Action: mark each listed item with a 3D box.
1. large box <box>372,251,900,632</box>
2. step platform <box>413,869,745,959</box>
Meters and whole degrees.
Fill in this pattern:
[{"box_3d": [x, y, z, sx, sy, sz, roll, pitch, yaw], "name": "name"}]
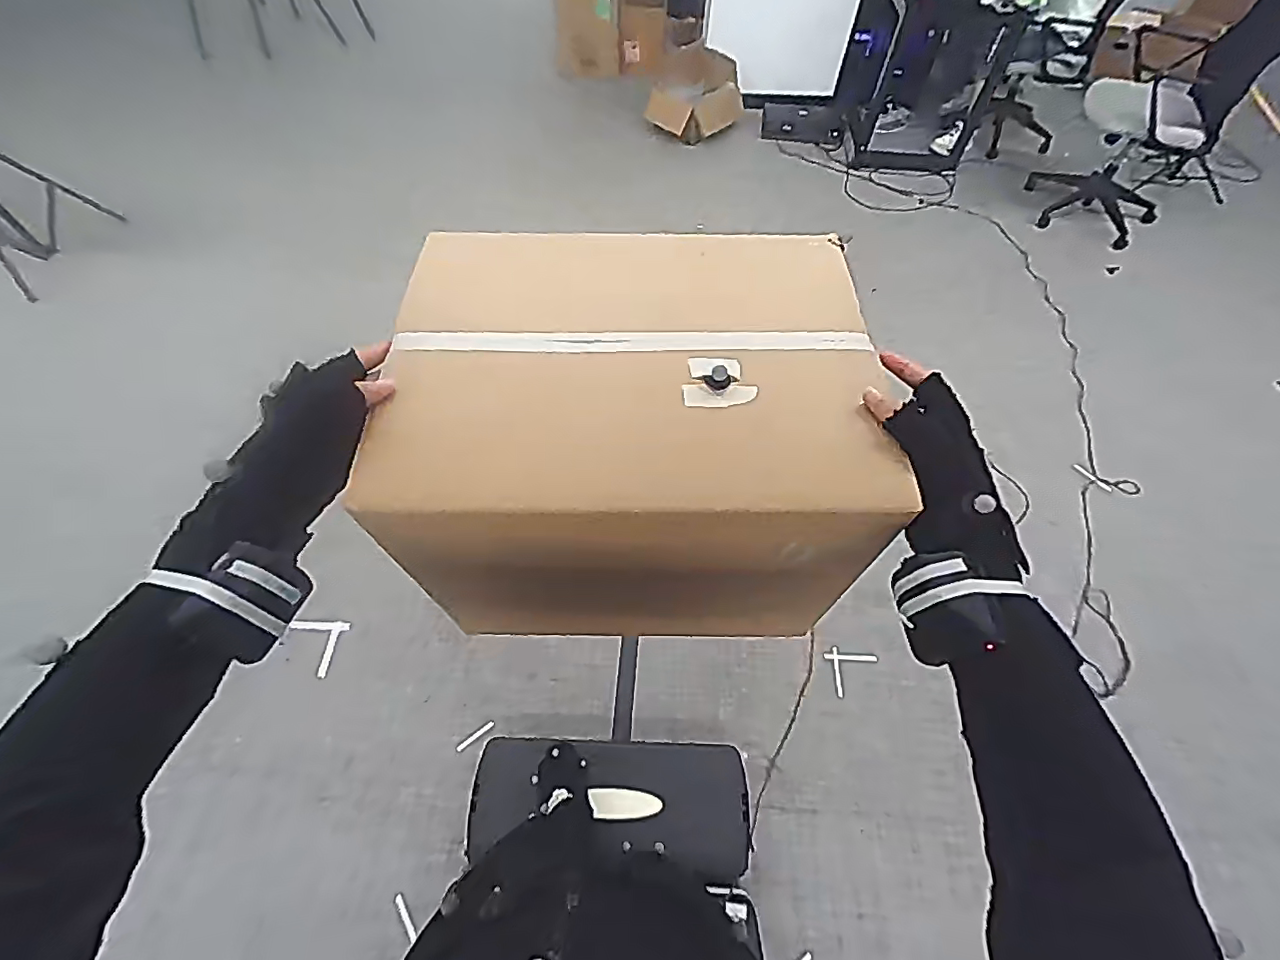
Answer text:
[{"box_3d": [-0.006, -0.027, 0.603, 0.408, 0.320, 0.320, 1, 59, -1], "name": "large box"}, {"box_3d": [-0.122, 1.012, 1.132, 0.684, 0.204, 0.286, 2, 57, 1], "name": "step platform"}]
